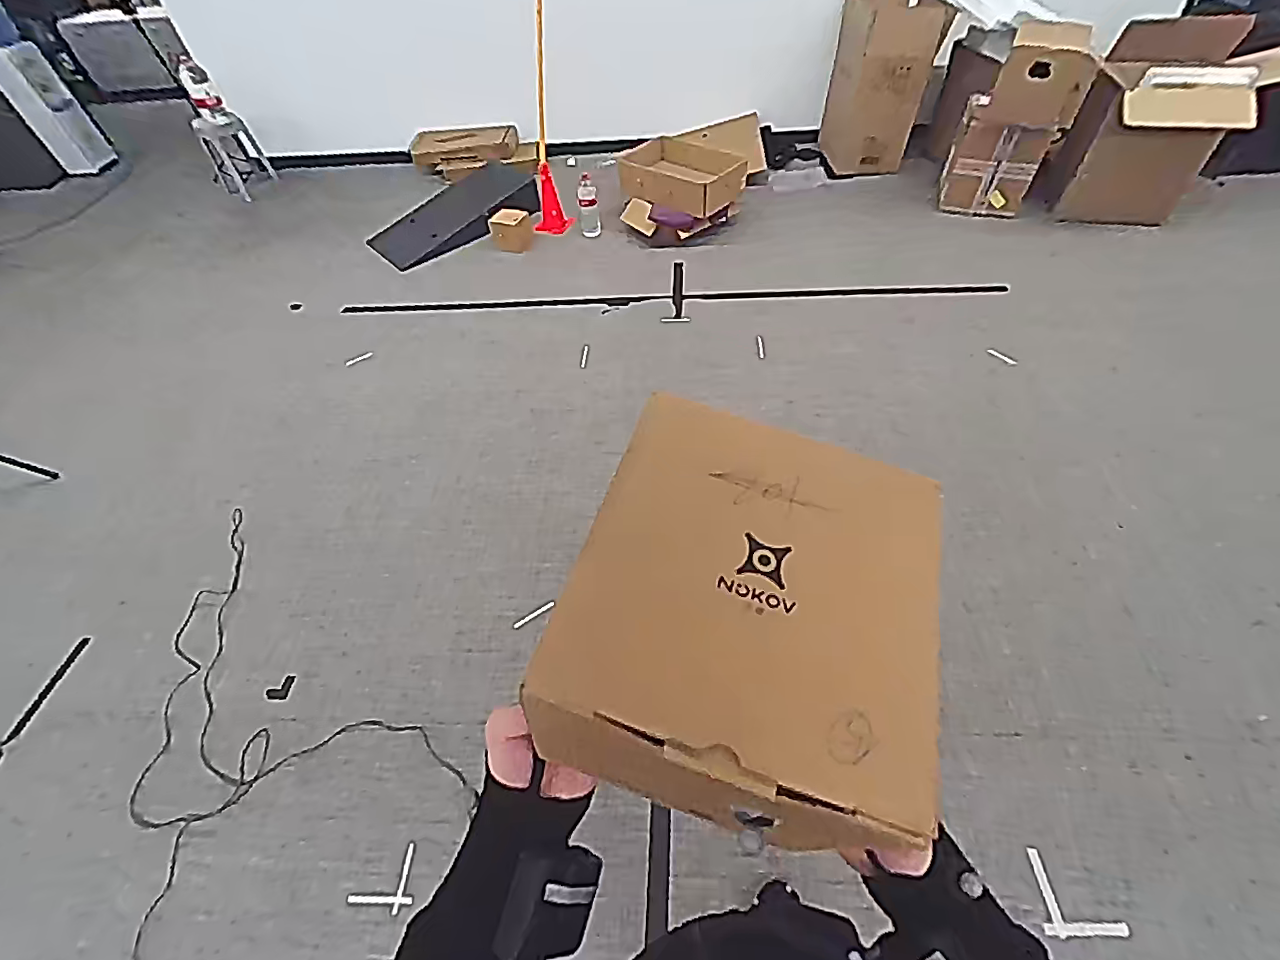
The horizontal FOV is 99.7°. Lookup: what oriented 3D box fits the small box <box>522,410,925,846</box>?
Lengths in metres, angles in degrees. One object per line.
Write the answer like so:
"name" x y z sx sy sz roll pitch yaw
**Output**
"small box" 0.046 0.095 0.325 0.168 0.176 0.179 18 54 5
